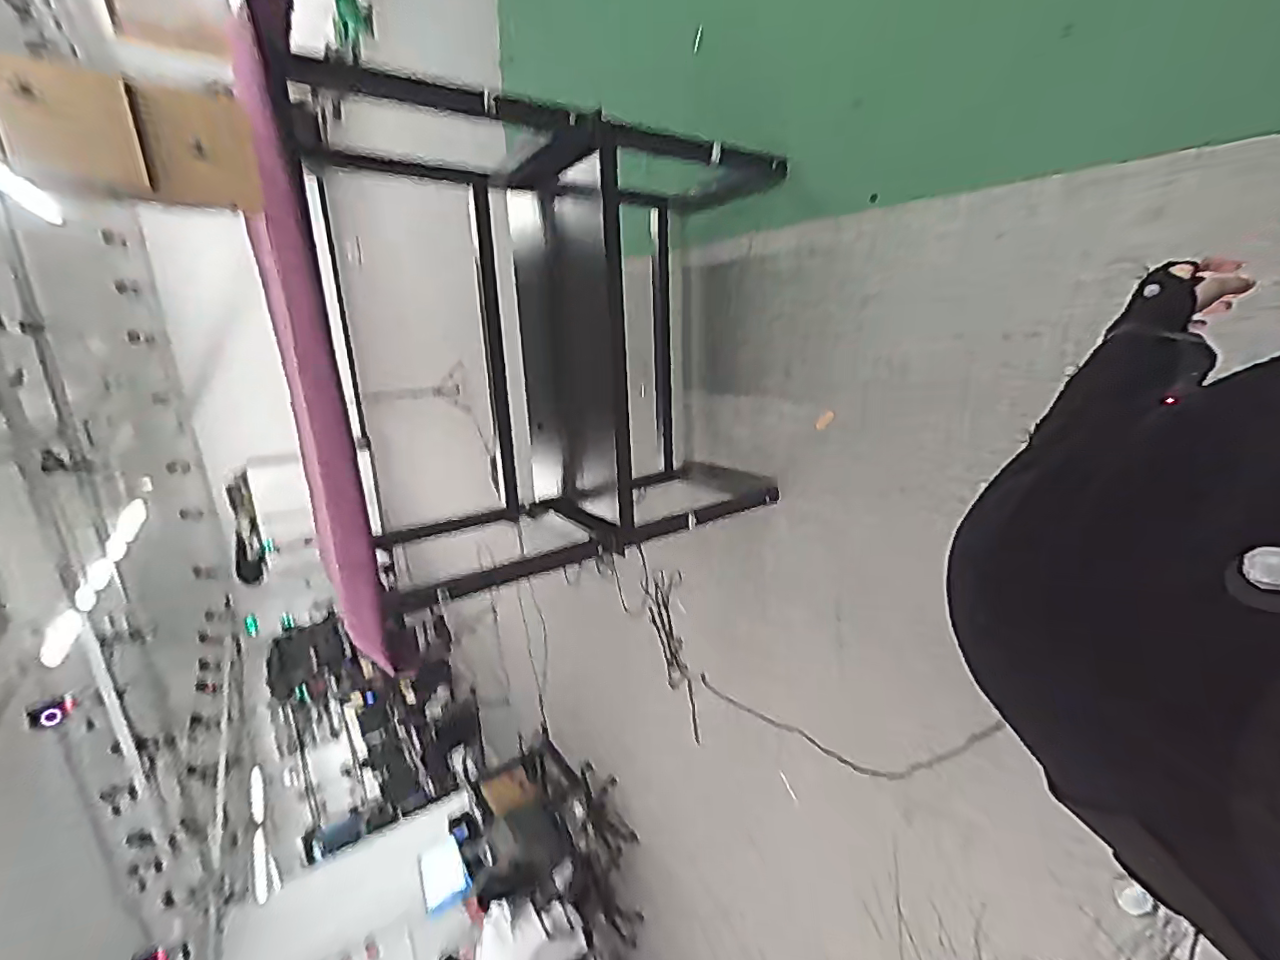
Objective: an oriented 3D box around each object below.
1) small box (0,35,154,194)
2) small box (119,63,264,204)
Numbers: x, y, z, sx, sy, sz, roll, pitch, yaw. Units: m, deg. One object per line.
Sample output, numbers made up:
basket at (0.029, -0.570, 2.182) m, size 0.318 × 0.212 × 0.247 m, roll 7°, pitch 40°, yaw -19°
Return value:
small box at (-0.950, -0.599, 0.906) m, size 0.168 × 0.176 × 0.179 m, roll 18°, pitch 117°, yaw 52°
small box at (-0.829, -0.633, 1.014) m, size 0.168 × 0.176 × 0.179 m, roll 19°, pitch 118°, yaw 52°
